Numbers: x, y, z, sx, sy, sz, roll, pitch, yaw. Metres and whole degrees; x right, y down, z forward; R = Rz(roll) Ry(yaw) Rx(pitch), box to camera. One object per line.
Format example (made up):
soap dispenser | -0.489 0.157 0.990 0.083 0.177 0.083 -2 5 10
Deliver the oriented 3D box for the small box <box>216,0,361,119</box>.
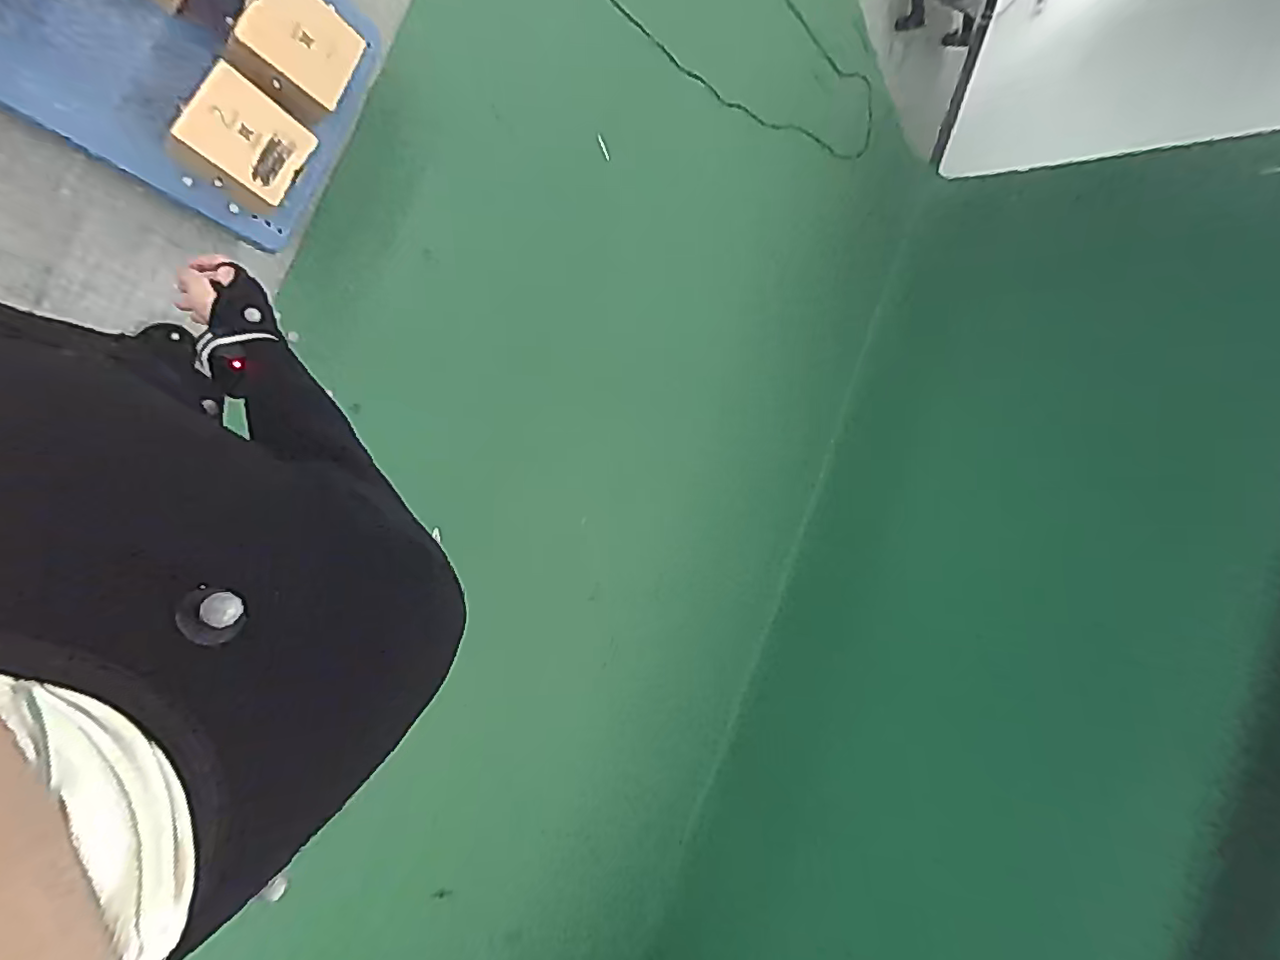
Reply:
small box | -0.696 -0.858 1.067 0.179 0.176 0.168 29 82 -46
